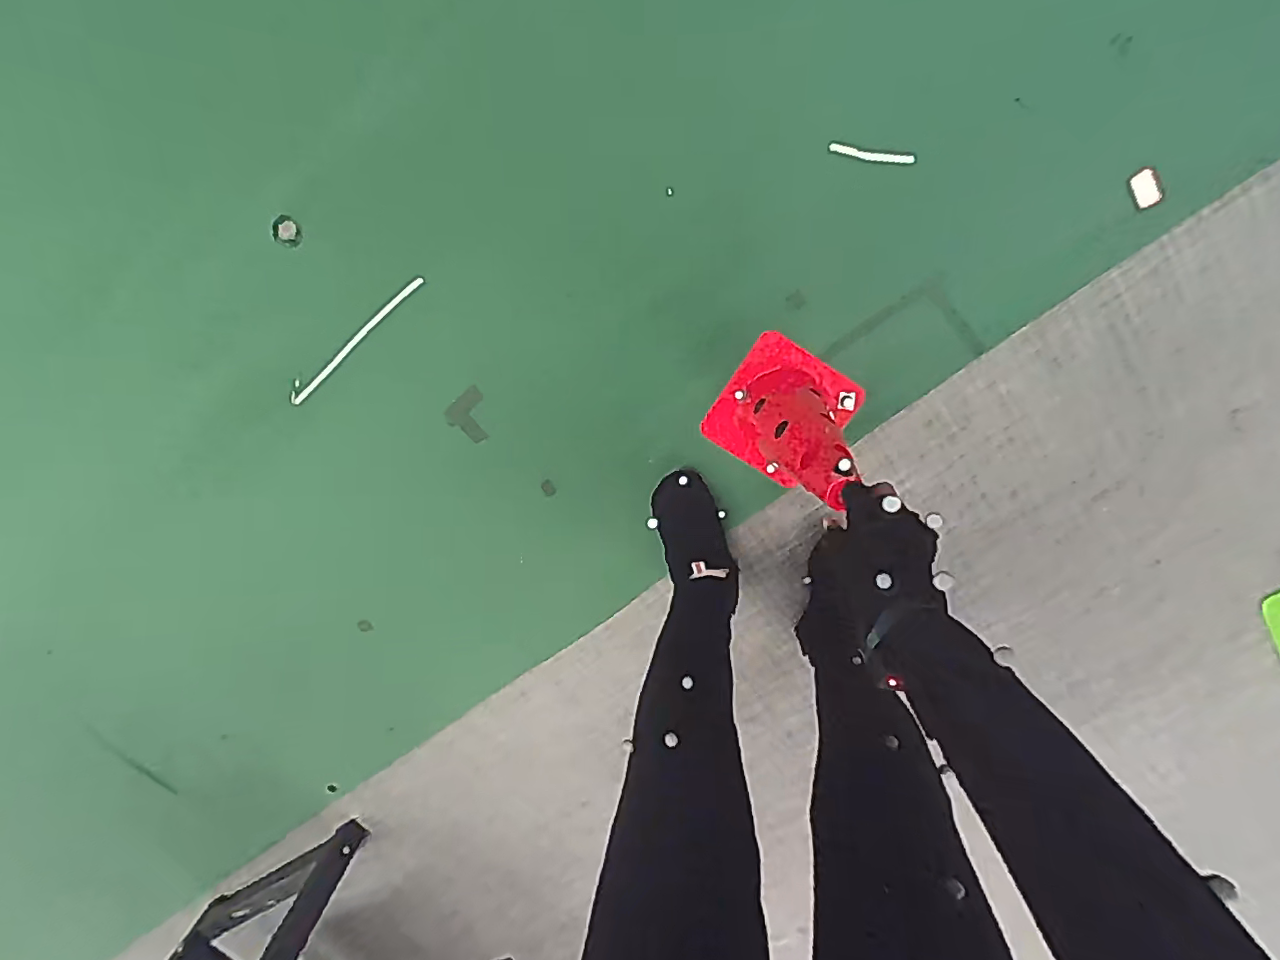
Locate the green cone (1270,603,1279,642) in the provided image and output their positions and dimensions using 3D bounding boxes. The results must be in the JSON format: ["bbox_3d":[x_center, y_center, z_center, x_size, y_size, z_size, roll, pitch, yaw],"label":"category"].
[{"bbox_3d":[1.209,0.302,0.776,0.200,0.368,0.202,-35,104,15],"label":"green cone"}]
